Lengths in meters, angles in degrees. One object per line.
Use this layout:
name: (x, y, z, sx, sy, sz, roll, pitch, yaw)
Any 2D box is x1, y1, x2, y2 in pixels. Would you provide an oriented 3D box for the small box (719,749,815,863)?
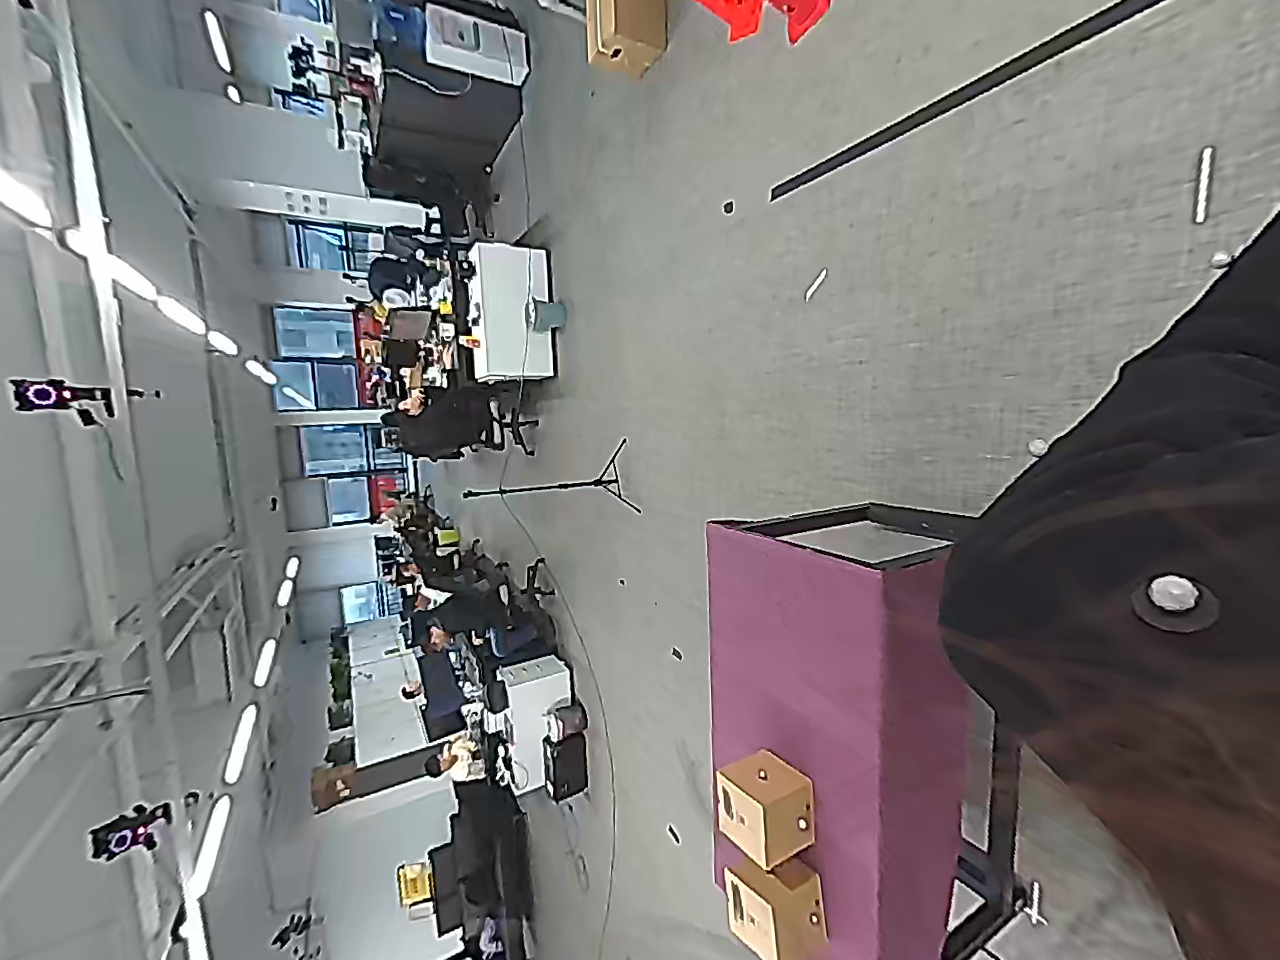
small box: (0.325, 0.822, 1.388, 0.179, 0.176, 0.168, 4, 99, 60)
